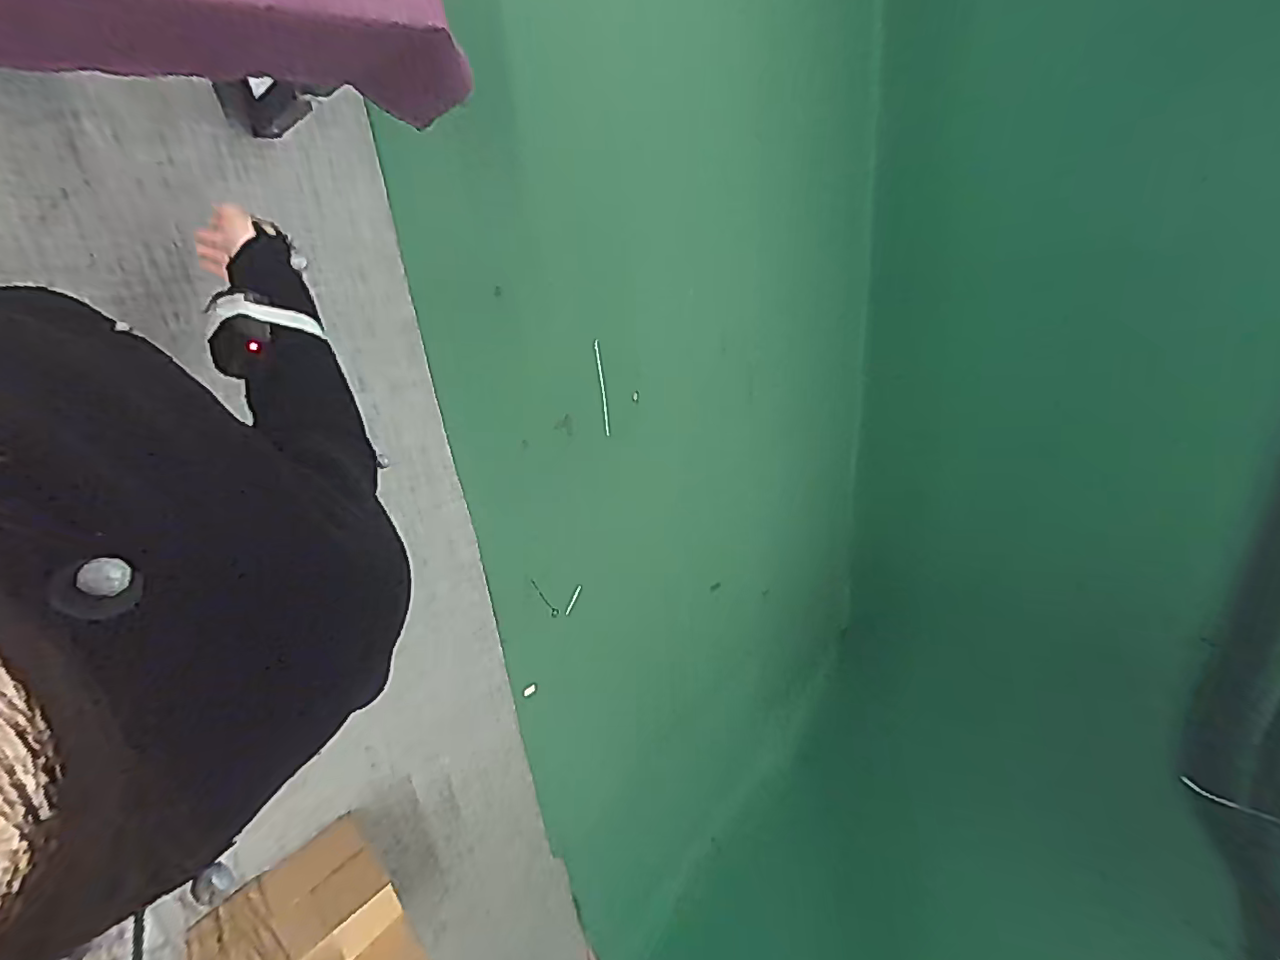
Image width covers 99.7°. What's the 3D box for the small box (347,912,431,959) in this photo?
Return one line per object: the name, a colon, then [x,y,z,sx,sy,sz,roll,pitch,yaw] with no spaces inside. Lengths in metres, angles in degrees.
small box: [-0.649,1.300,1.408,0.179,0.176,0.168,-30,125,-40]
